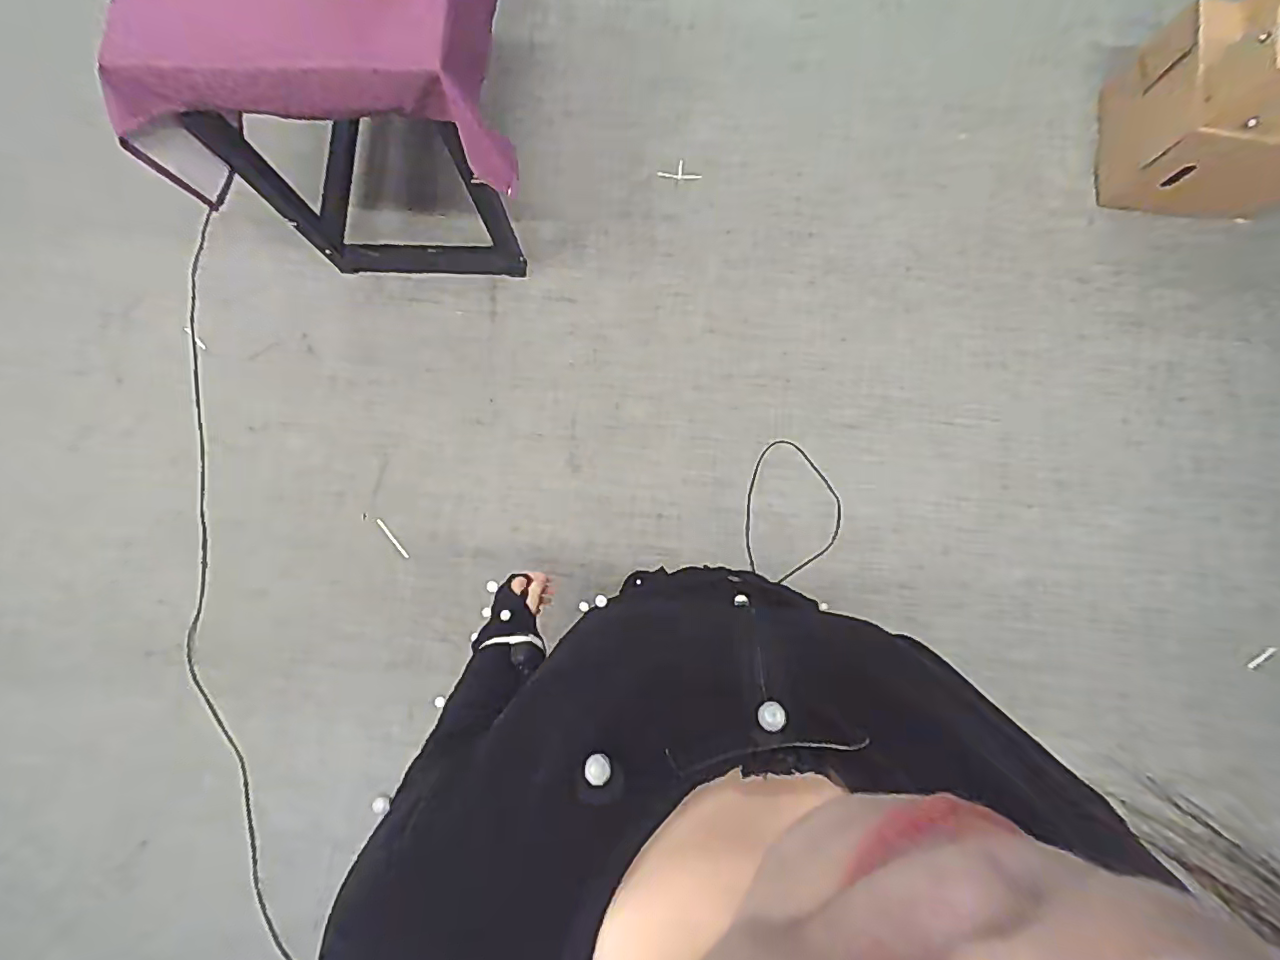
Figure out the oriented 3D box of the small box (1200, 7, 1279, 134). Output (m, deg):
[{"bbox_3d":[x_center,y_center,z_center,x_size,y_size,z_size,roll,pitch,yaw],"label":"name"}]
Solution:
[{"bbox_3d":[1.502,-0.963,1.280,0.179,0.176,0.168,11,82,1],"label":"small box"}]
